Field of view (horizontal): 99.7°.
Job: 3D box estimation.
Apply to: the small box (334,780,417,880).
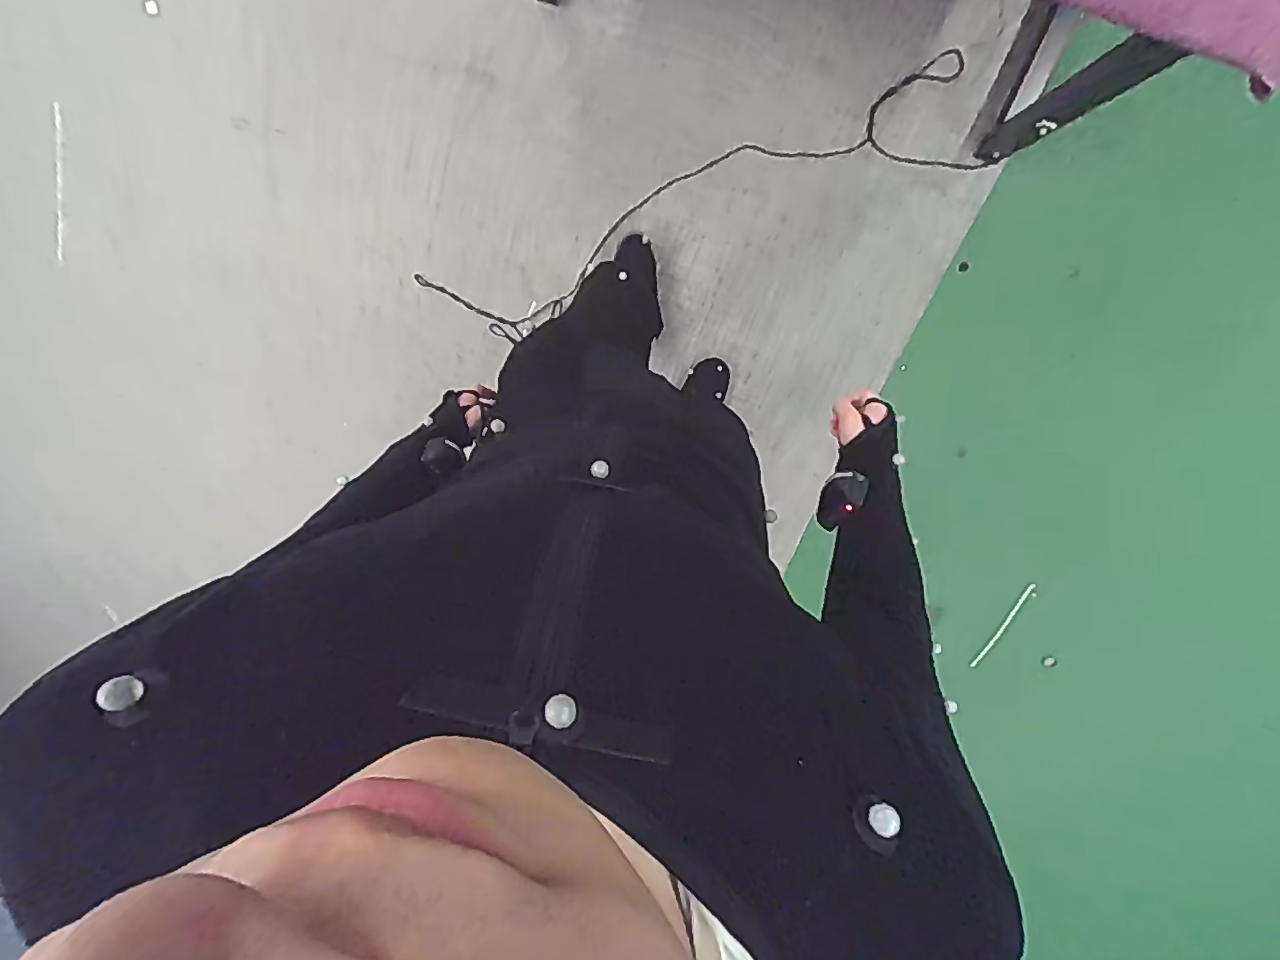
[{"bbox_3d":[-0.776,1.021,1.563,0.168,0.176,0.179,25,108,0],"label":"small box"}]
